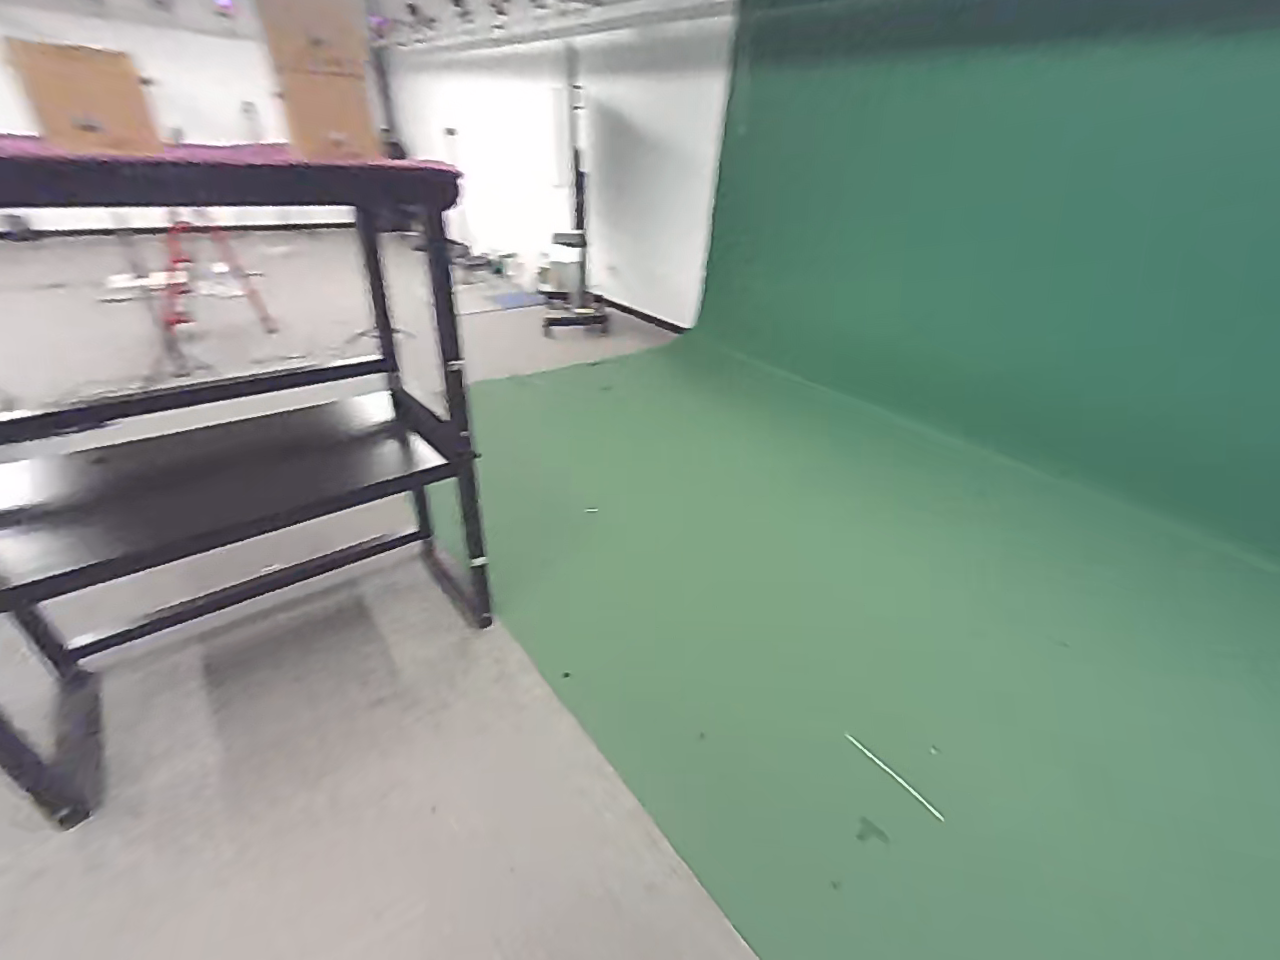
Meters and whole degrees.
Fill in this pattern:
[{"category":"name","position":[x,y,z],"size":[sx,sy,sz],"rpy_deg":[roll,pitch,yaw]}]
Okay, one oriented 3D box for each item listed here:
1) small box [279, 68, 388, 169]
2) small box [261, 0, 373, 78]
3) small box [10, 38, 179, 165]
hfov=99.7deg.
[{"category":"small box","position":[-0.681,-0.799,1.205],"size":[0.168,0.176,0.179],"rpy_deg":[-18,39,-30]},{"category":"small box","position":[-0.673,-0.939,1.118],"size":[0.168,0.176,0.179],"rpy_deg":[-19,39,-30]},{"category":"small box","position":[-0.985,-0.685,0.996],"size":[0.168,0.176,0.179],"rpy_deg":[-18,37,-31]}]
